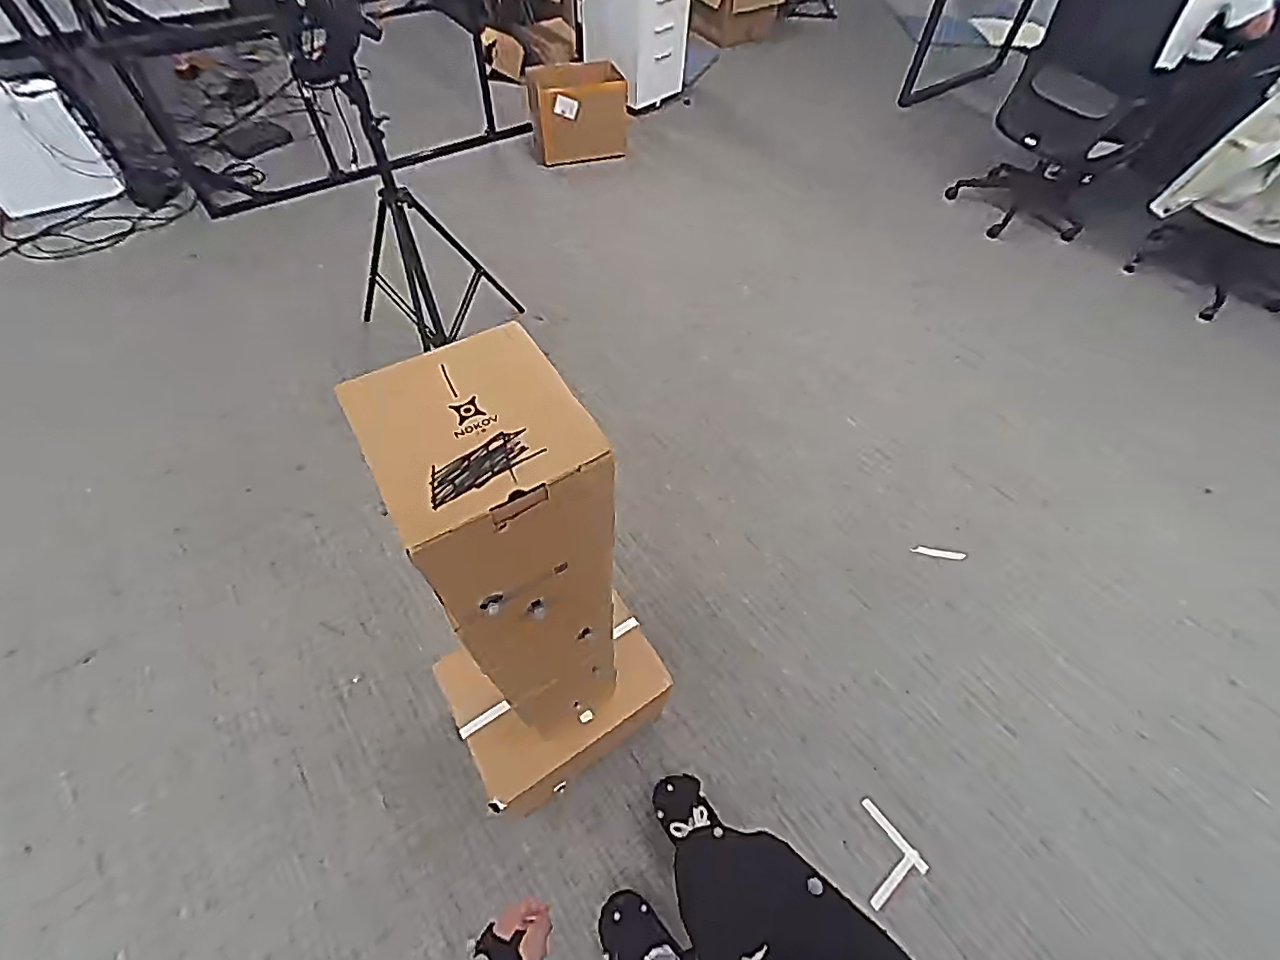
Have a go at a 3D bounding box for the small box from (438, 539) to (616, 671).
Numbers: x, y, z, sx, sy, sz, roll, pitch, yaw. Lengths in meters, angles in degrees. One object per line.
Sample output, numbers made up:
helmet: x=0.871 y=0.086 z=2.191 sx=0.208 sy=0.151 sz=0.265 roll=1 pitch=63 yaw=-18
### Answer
small box: x=-0.145 y=0.094 z=0.633 sx=0.179 sy=0.176 sz=0.168 roll=-27 pitch=62 yaw=-19

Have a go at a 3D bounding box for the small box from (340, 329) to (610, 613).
small box: x=-0.136 y=0.001 z=0.498 sx=0.168 sy=0.176 sz=0.179 roll=-27 pitch=61 yaw=-19

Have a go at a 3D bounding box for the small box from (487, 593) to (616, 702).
small box: x=-0.150 y=0.184 z=0.768 sx=0.179 sy=0.176 sz=0.168 roll=-27 pitch=62 yaw=-19

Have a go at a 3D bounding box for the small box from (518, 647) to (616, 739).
small box: x=-0.160 y=0.368 z=1.040 sx=0.179 sy=0.176 sz=0.168 roll=-30 pitch=63 yaw=-22
